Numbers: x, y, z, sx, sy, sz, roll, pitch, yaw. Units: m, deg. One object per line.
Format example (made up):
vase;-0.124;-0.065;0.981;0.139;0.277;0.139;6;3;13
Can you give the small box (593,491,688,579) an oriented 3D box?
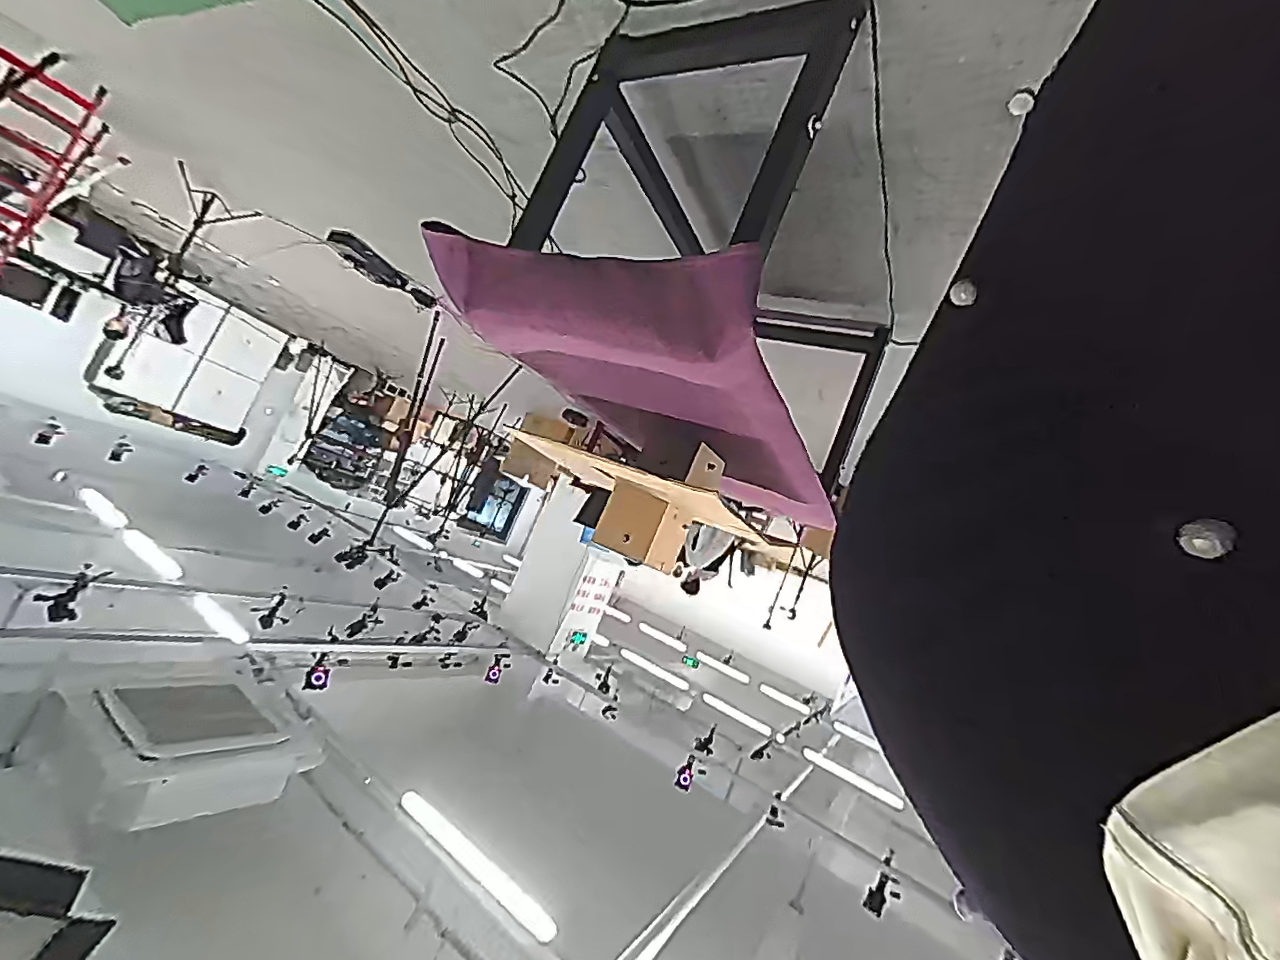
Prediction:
small box;0.010;0.143;1.434;0.179;0.176;0.168;19;170;33
